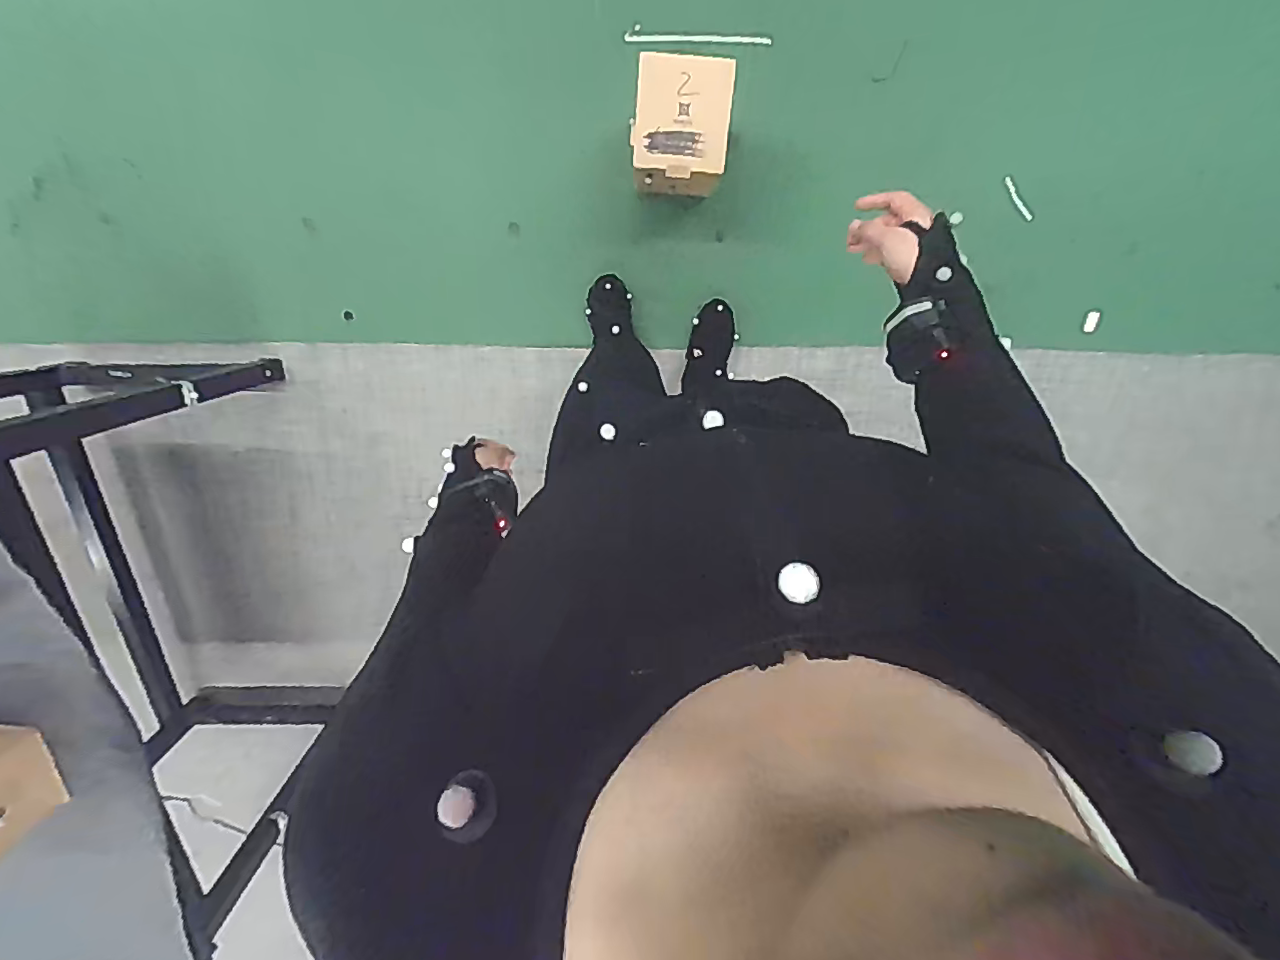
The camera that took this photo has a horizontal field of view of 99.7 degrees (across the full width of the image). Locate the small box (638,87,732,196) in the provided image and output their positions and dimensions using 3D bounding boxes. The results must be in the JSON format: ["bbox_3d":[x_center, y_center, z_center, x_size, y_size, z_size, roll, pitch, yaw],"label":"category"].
[{"bbox_3d":[0.089,-0.715,1.159,0.179,0.176,0.168,4,111,-1],"label":"small box"}]

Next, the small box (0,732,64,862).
[{"bbox_3d":[-1.106,0.533,0.869,0.168,0.176,0.179,3,112,1],"label":"small box"}]
